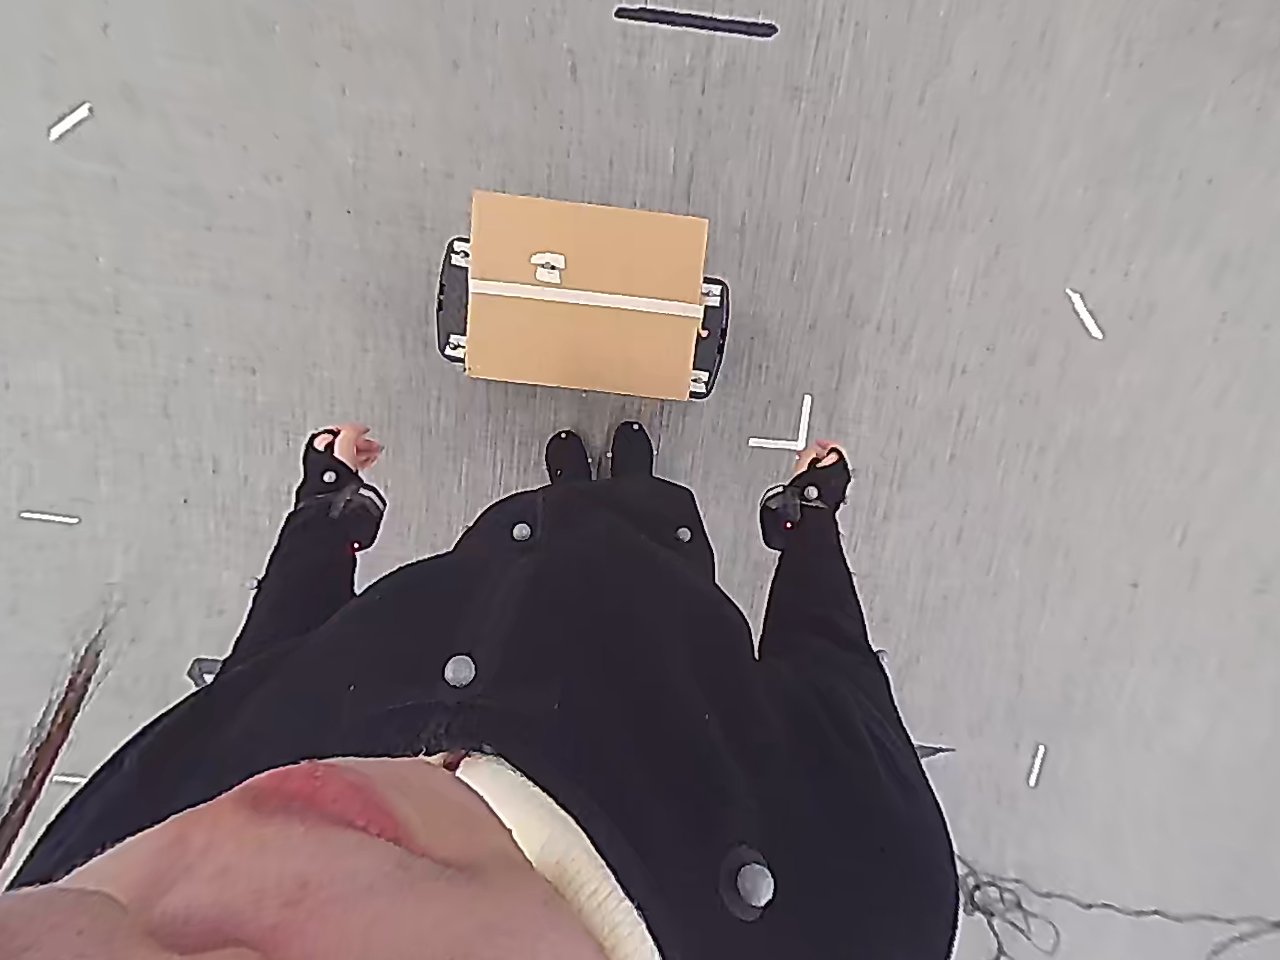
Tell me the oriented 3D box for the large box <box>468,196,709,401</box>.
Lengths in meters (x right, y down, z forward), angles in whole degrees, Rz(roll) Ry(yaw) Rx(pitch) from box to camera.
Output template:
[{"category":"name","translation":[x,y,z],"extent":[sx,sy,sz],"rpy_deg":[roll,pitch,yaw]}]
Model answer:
[{"category":"large box","translation":[-0.092,-0.335,1.080],"extent":[0.408,0.320,0.320],"rpy_deg":[6,99,-1]}]
